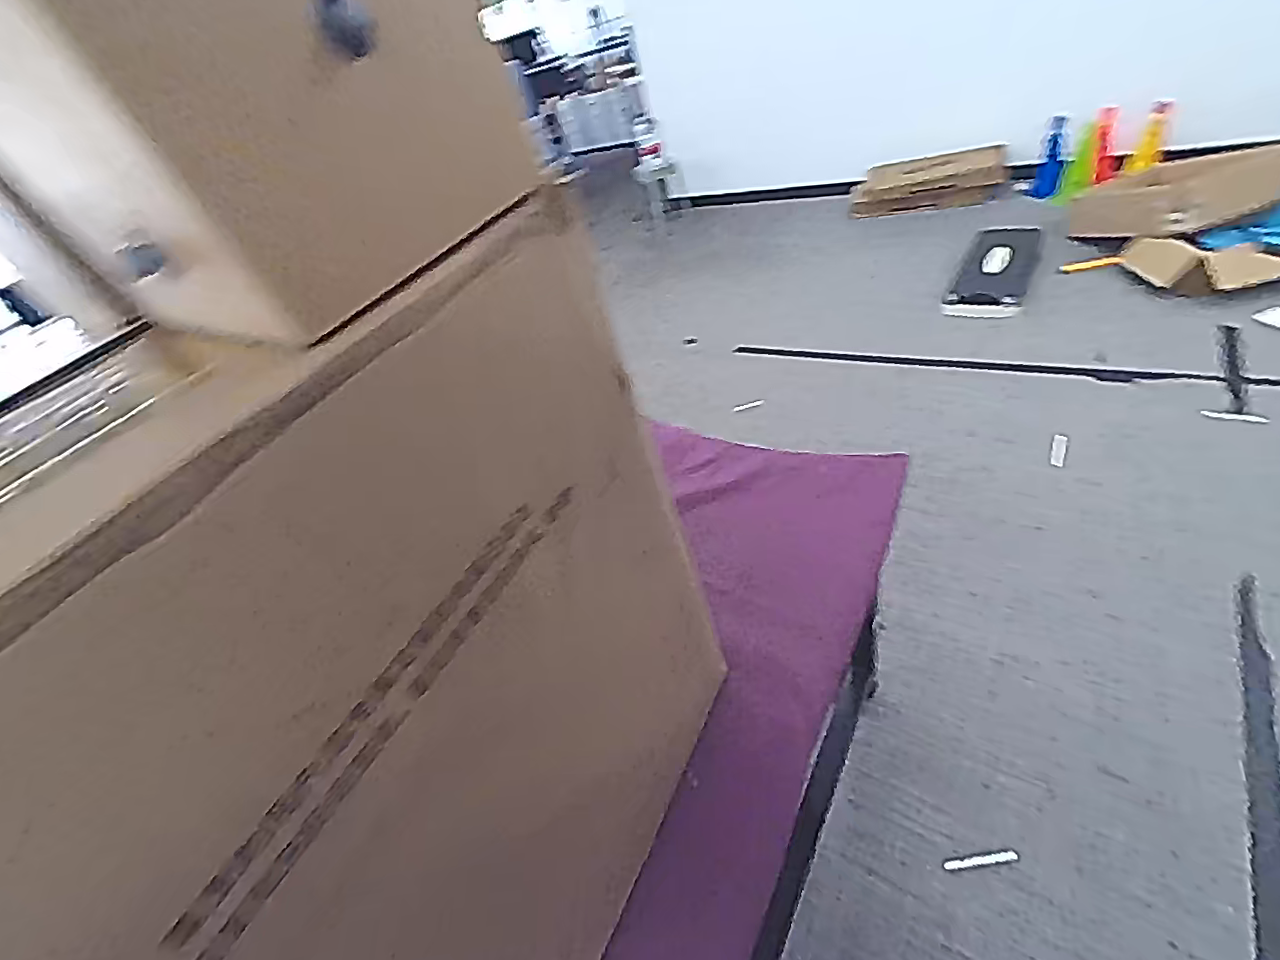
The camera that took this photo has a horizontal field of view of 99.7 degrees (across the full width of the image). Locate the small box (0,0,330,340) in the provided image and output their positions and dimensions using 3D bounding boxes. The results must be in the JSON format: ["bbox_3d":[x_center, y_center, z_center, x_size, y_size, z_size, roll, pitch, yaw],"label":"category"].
[{"bbox_3d":[-0.365,-0.211,0.369,0.179,0.176,0.168,13,52,32],"label":"small box"}]
